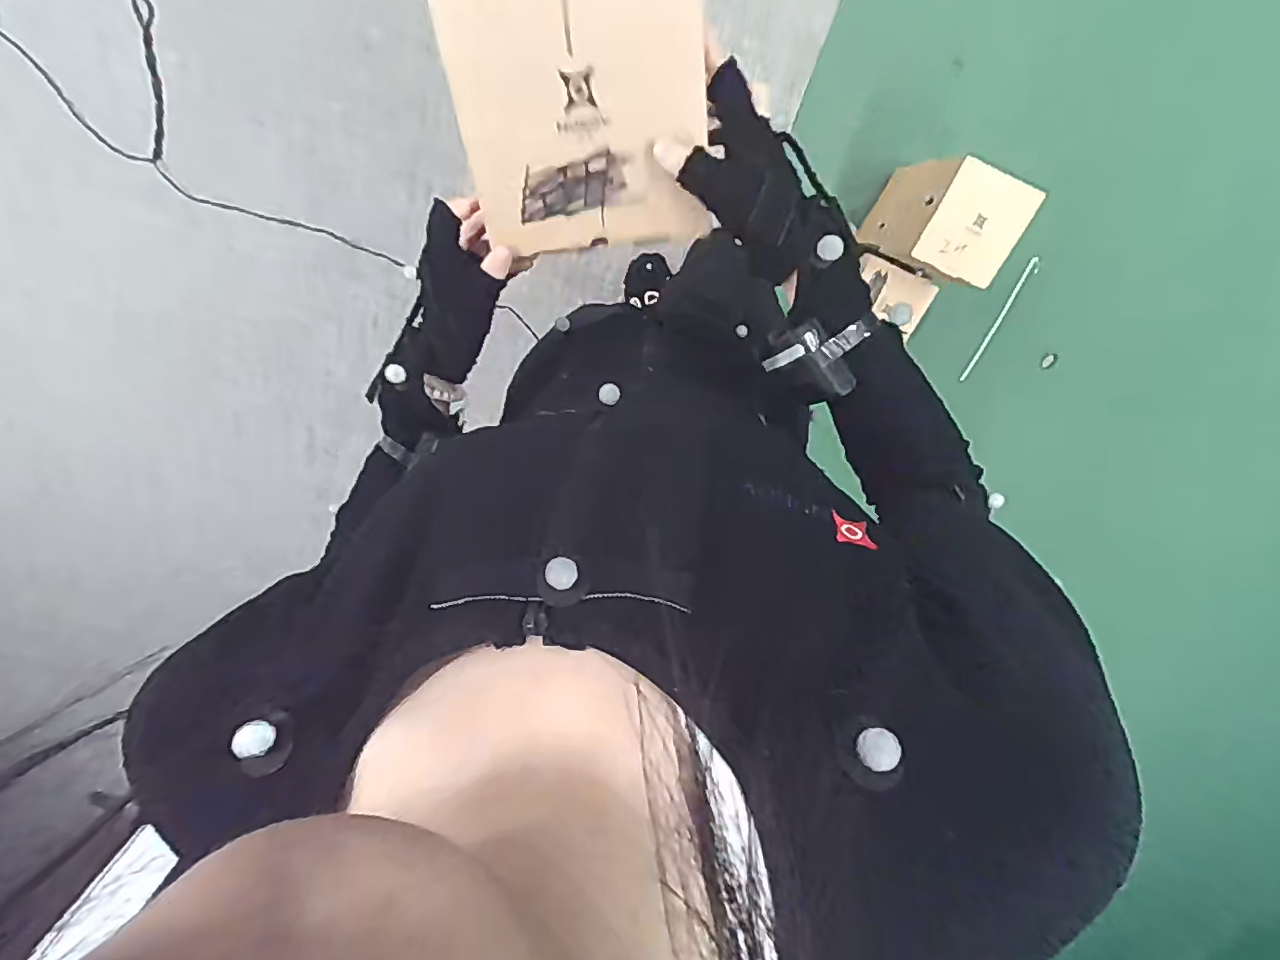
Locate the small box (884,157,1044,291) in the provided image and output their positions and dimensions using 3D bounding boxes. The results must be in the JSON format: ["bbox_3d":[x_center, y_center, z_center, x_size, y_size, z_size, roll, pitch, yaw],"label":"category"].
[{"bbox_3d":[0.605,-0.489,1.041,0.168,0.176,0.179,21,115,-7],"label":"small box"}]
